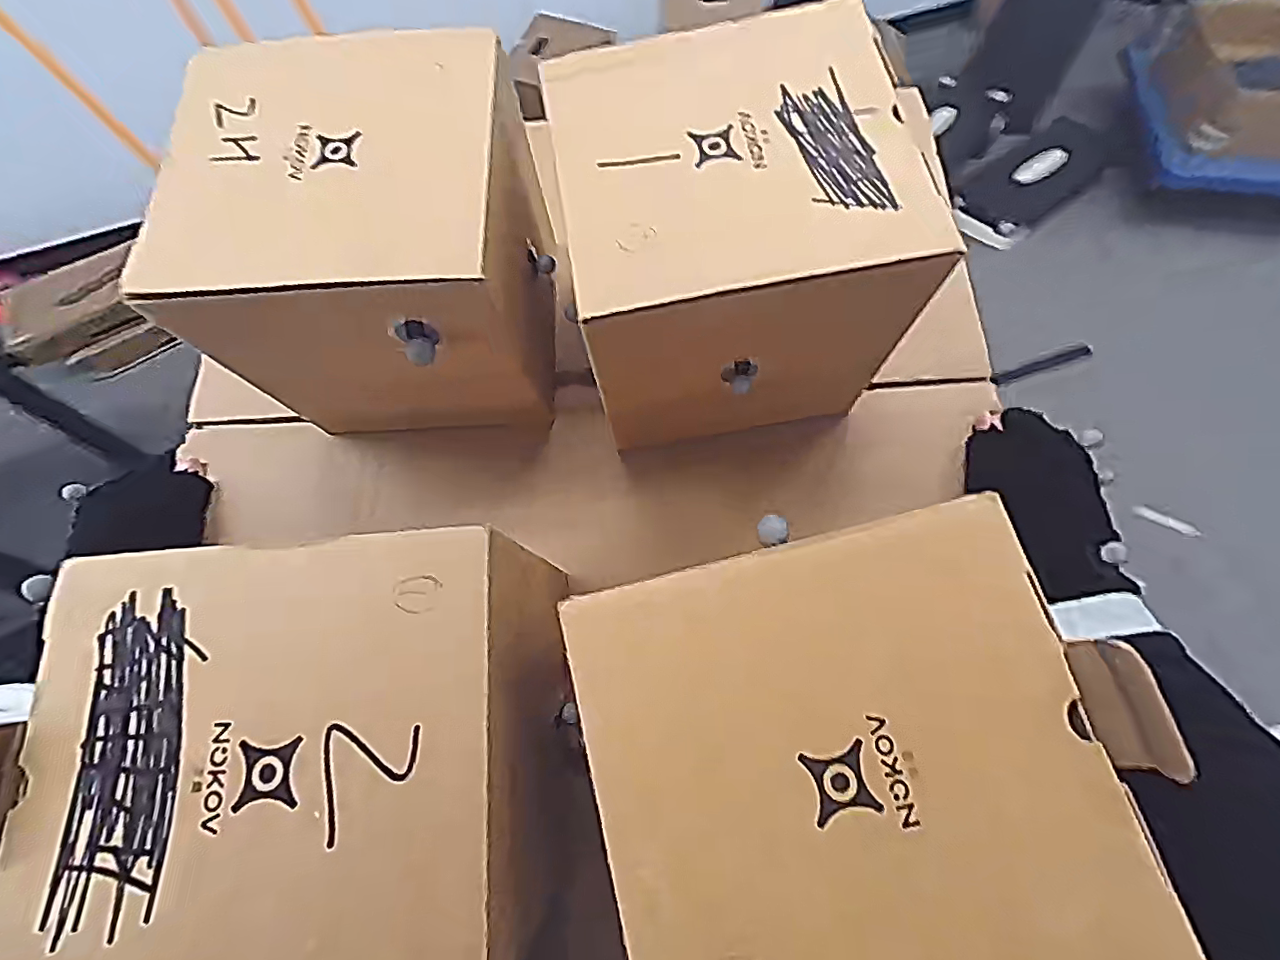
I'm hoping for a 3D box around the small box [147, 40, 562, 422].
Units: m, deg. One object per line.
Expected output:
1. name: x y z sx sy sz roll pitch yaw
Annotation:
1. small box: -0.153 -0.146 0.362 0.179 0.176 0.168 -1 72 3
